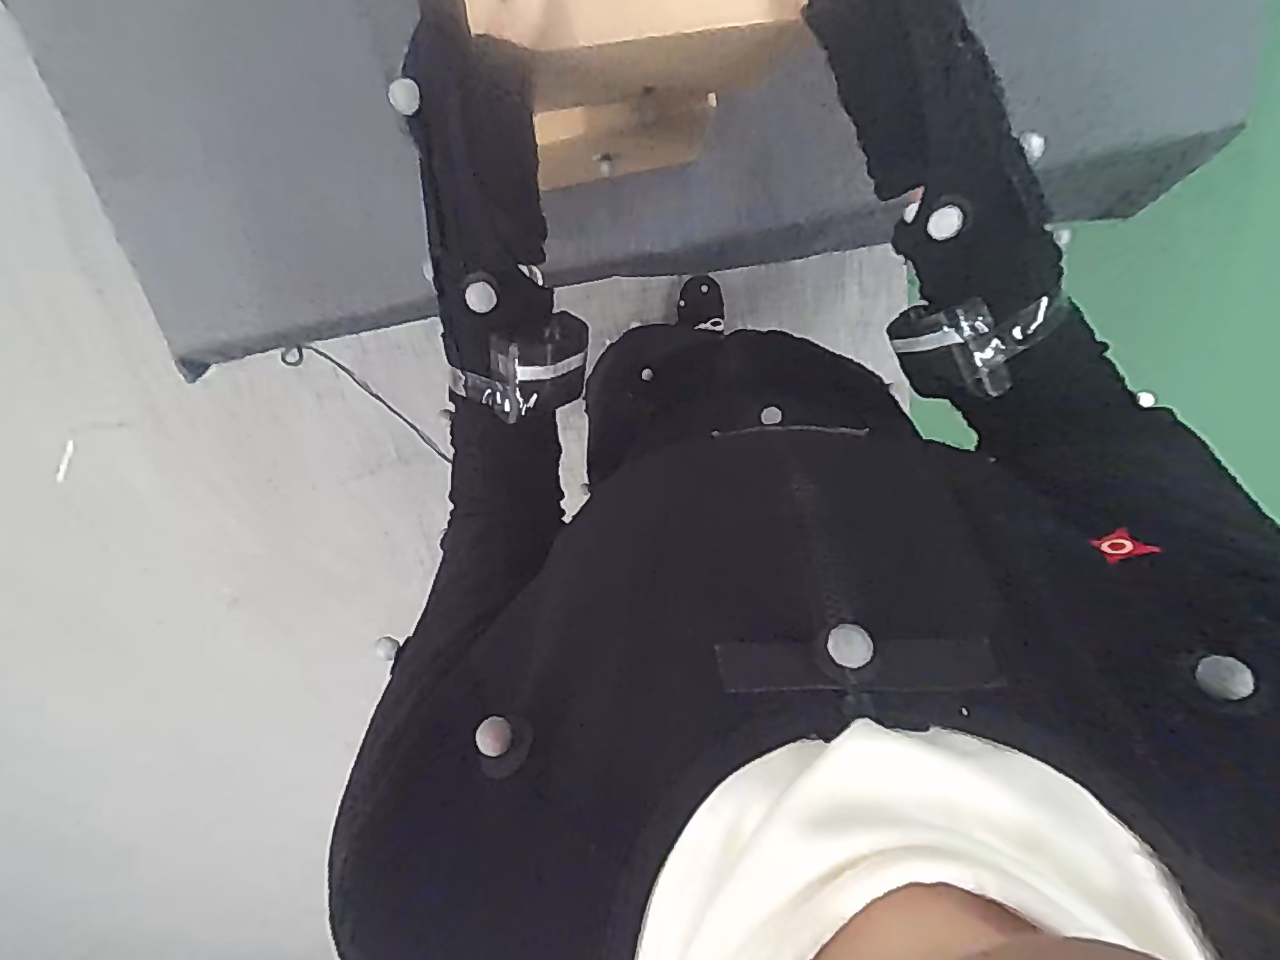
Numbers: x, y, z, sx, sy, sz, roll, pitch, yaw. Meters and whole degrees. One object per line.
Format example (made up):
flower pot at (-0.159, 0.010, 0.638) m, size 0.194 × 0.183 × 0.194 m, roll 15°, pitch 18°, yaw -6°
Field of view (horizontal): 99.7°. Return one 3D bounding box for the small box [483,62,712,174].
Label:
small box at (-0.040, -0.388, 0.477) m, size 0.179 × 0.176 × 0.168 m, roll -7°, pitch 107°, yaw 3°

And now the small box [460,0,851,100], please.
small box at (-0.004, -0.309, 0.274) m, size 0.179 × 0.176 × 0.168 m, roll -7°, pitch 117°, yaw -2°
